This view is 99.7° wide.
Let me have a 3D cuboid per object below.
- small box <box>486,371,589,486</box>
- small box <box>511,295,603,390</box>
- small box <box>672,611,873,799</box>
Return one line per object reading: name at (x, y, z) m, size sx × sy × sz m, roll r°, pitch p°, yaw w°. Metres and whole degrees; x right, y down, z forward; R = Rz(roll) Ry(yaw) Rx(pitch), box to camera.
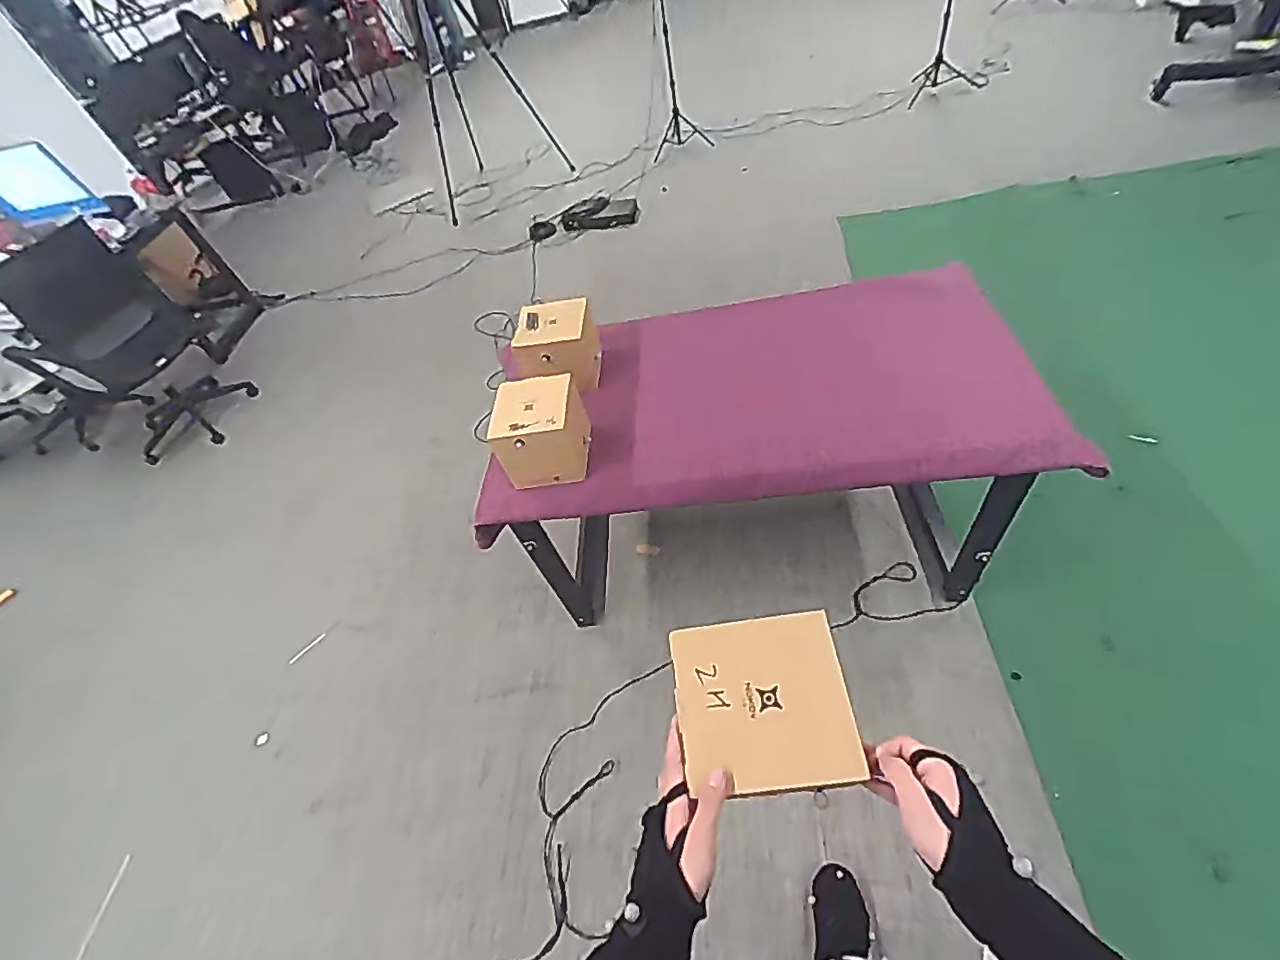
small box at (-0.214, -0.110, 1.185) m, size 0.168 × 0.176 × 0.179 m, roll -7°, pitch 49°, yaw 9°
small box at (-0.203, -0.338, 1.366) m, size 0.179 × 0.176 × 0.168 m, roll -5°, pitch 52°, yaw 9°
small box at (0.138, 0.261, 0.616) m, size 0.179 × 0.176 × 0.168 m, roll -9°, pitch 58°, yaw 6°
